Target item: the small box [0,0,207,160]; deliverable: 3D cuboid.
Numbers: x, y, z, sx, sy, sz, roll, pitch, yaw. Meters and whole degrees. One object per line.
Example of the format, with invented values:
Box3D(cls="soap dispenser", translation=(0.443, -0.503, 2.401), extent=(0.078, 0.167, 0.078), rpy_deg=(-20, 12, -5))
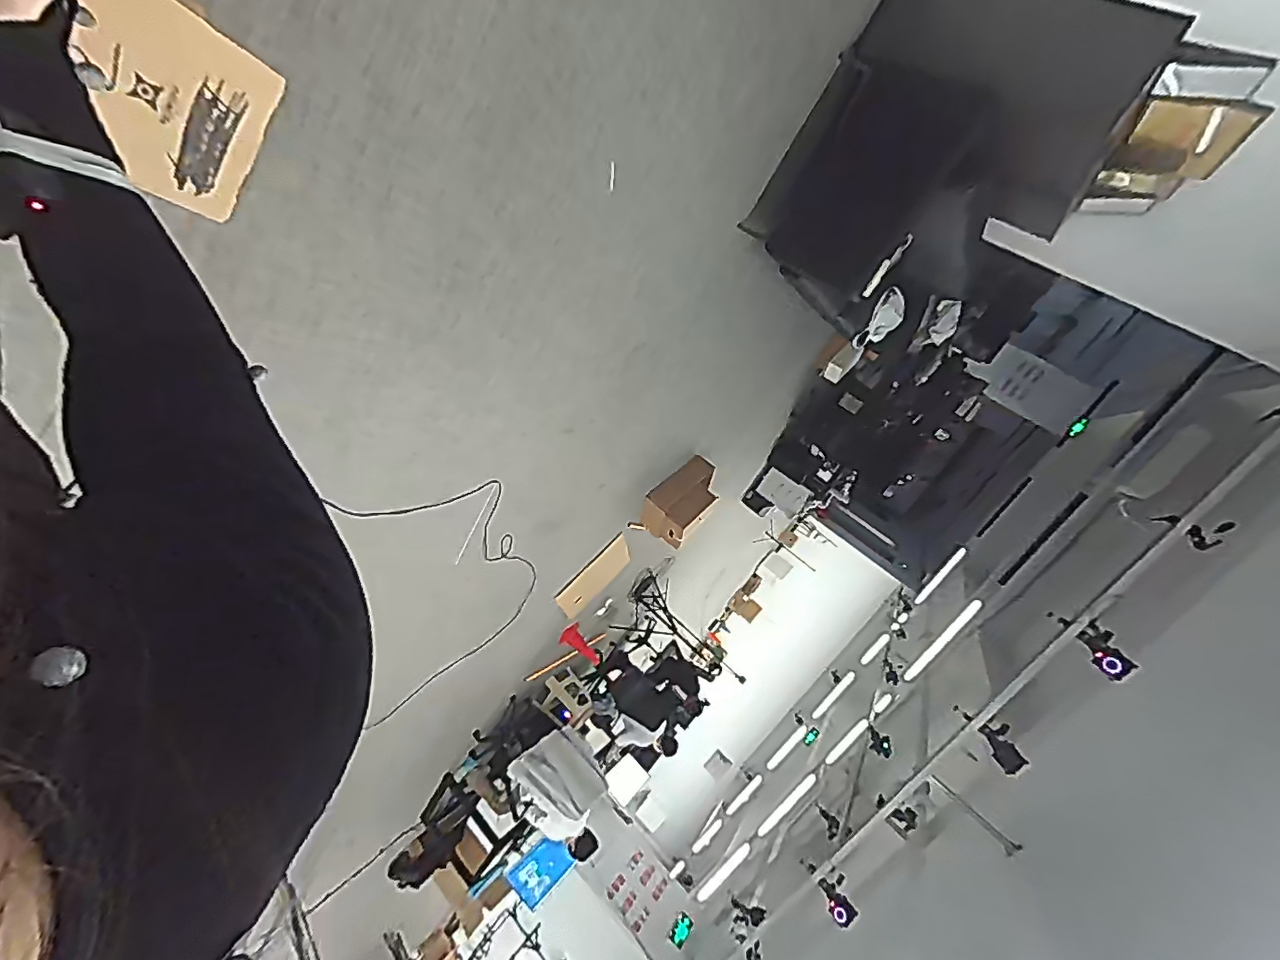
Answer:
Box3D(cls="small box", translation=(-0.616, -0.493, 0.574), extent=(0.179, 0.176, 0.168), rpy_deg=(-59, 158, 12))
